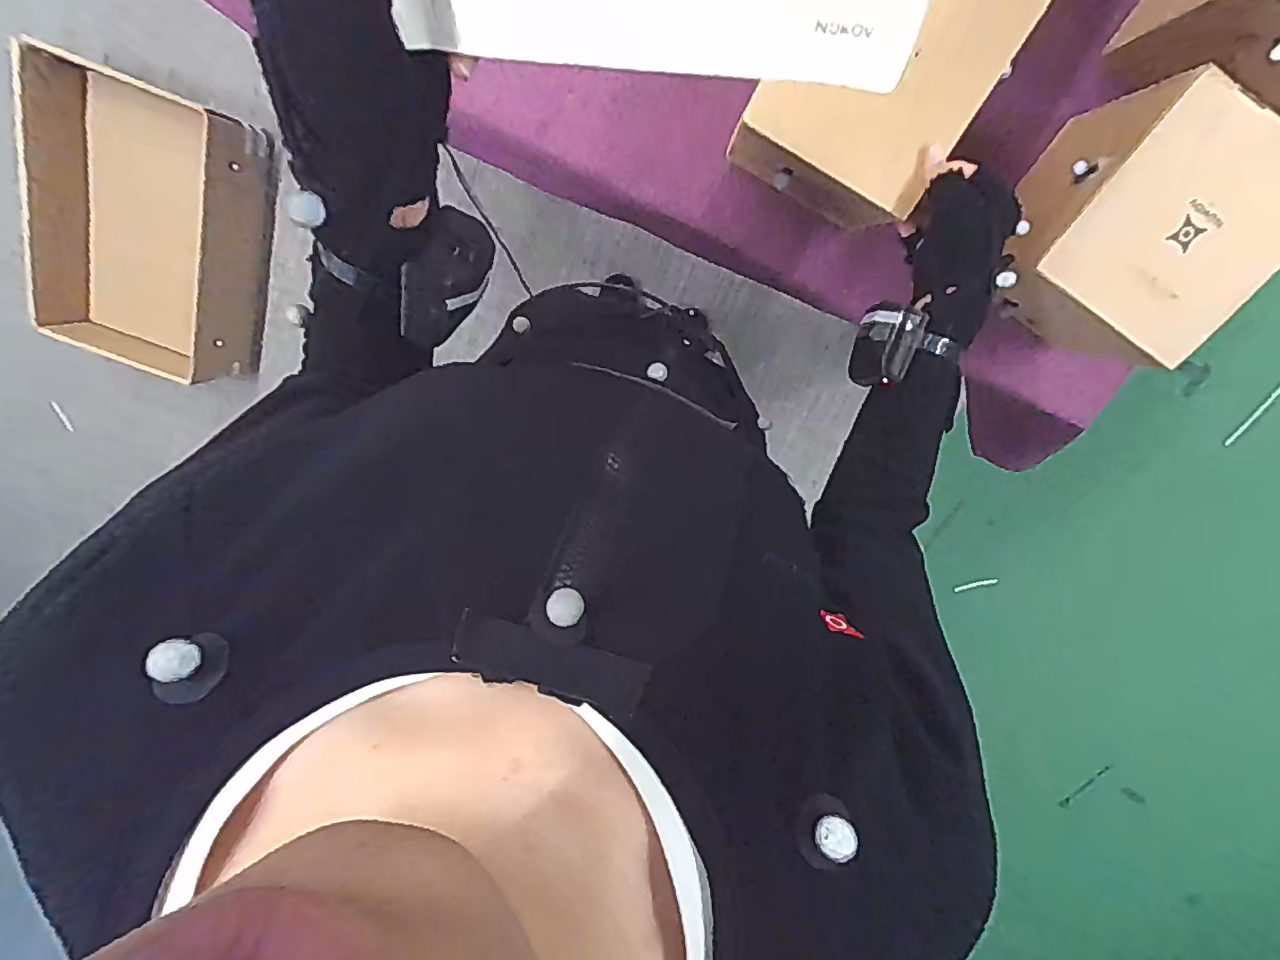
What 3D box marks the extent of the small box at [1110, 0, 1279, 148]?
[{"bbox_3d":[0.562,-0.416,0.444,0.168,0.176,0.179,30,110,-7],"label":"small box"}]
